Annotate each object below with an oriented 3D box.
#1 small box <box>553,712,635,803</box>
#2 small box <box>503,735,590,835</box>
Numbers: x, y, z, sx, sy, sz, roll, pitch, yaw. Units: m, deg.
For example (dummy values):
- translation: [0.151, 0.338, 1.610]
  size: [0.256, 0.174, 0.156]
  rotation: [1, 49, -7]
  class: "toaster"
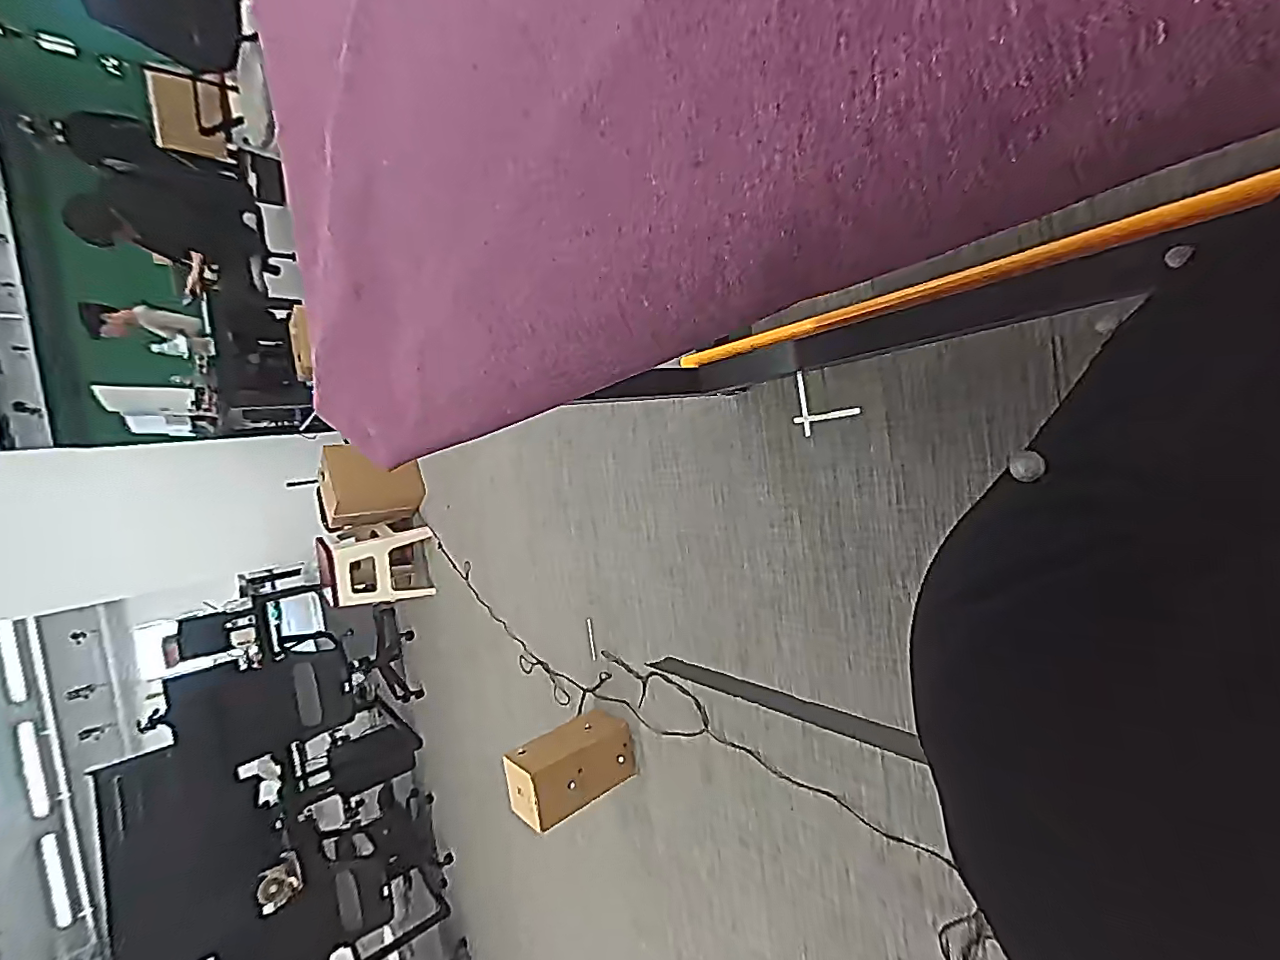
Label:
- translation: [-0.139, 0.829, 1.638]
  size: [0.179, 0.176, 0.168]
  rotation: [-5, 95, 50]
  class: "small box"
- translation: [-0.265, 0.852, 1.533]
  size: [0.179, 0.176, 0.168]
  rotation: [-8, 93, 50]
  class: "small box"
